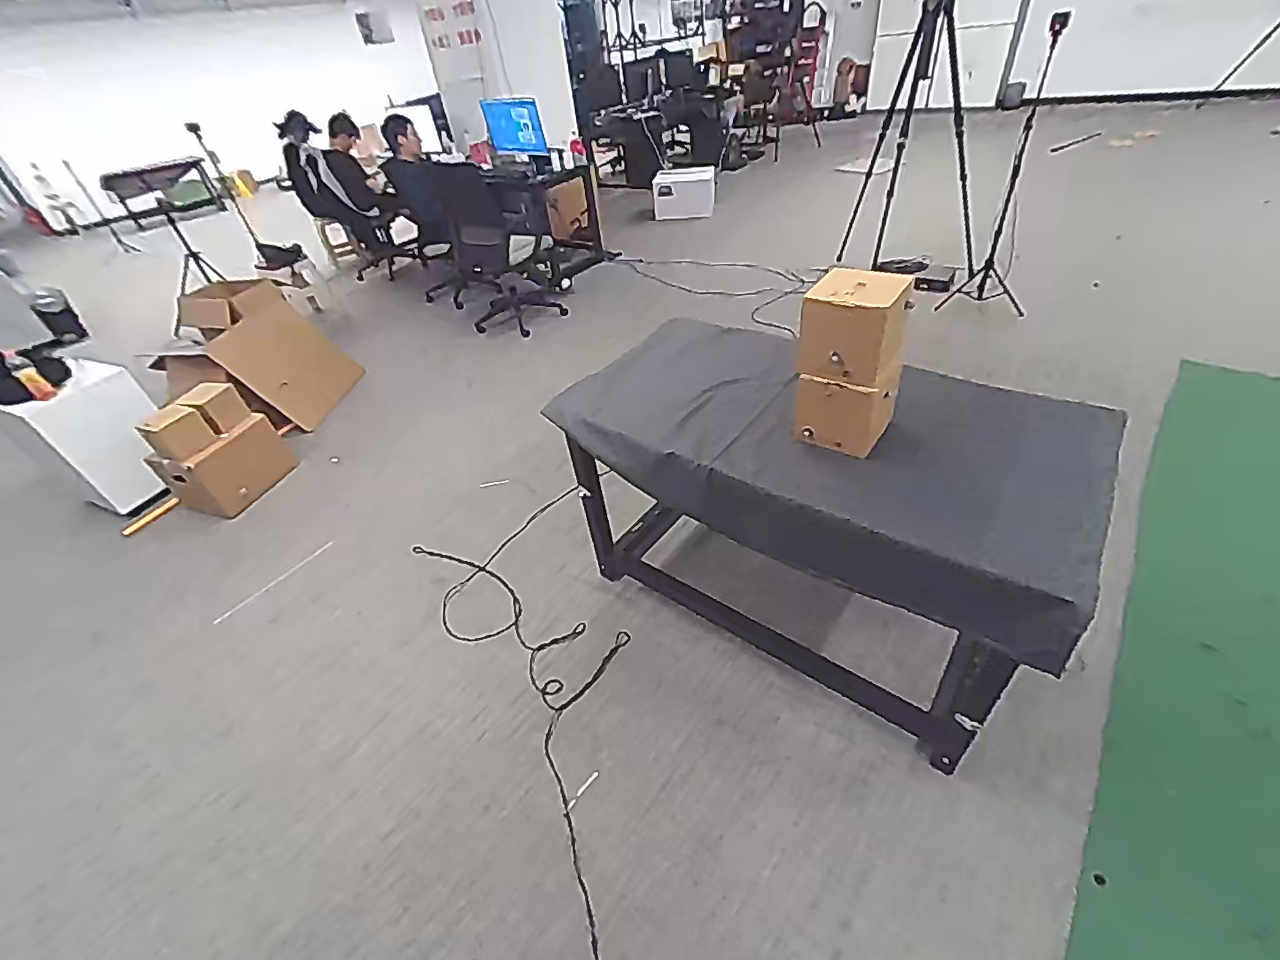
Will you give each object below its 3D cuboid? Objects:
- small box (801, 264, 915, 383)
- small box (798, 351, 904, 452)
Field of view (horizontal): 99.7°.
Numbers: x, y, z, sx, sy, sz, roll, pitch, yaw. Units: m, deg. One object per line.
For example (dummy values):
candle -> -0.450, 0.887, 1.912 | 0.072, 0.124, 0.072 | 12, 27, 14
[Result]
small box -> 0.442, -0.323, 1.113 | 0.168, 0.176, 0.179 | 20, 49, 31
small box -> 0.463, -0.186, 1.203 | 0.168, 0.176, 0.179 | 22, 48, 32
